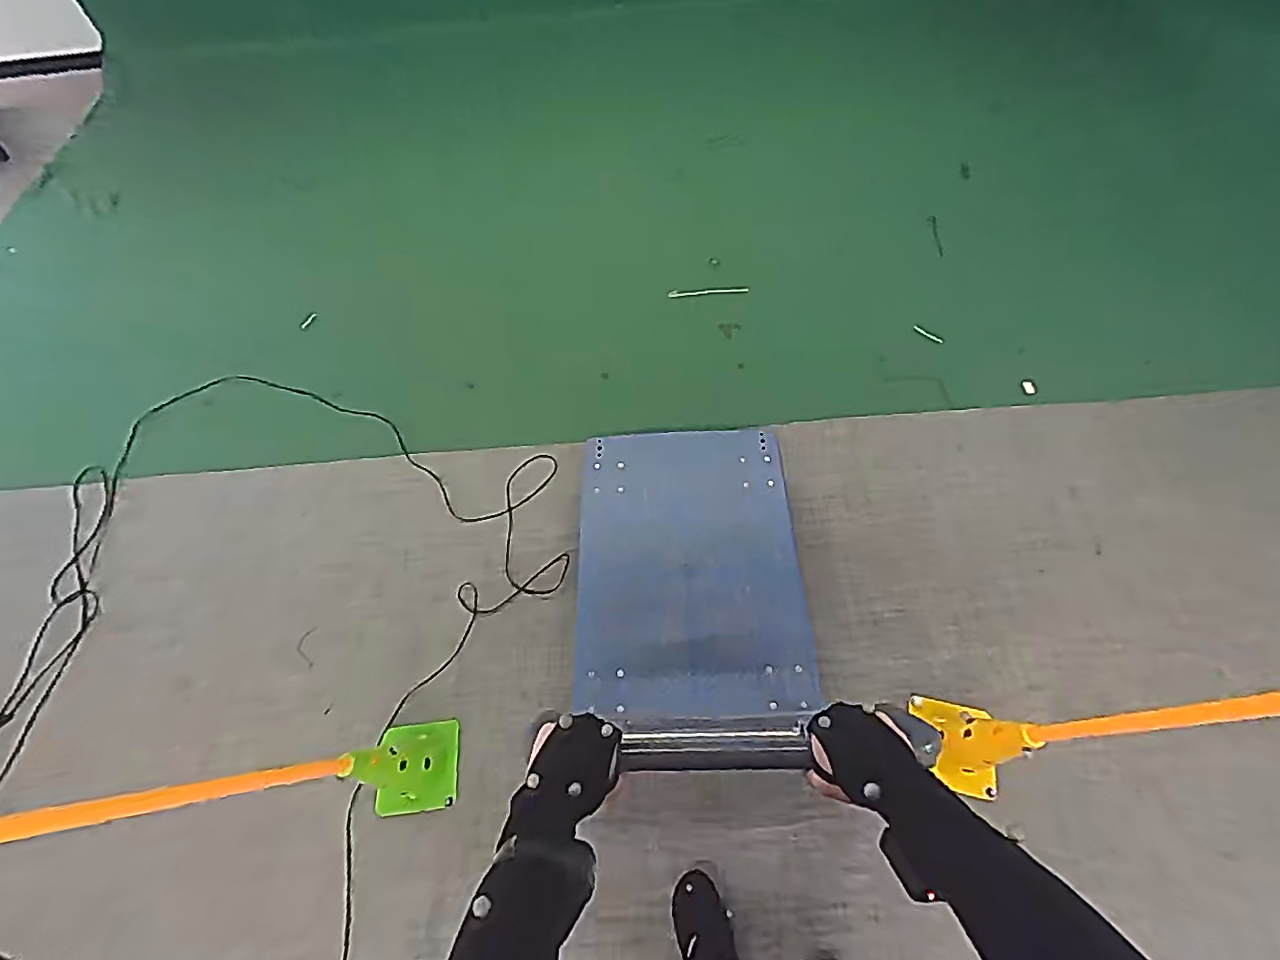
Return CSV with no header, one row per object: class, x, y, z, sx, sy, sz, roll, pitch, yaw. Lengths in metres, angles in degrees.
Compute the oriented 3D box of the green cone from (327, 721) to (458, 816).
green cone,-0.579,0.646,1.224,0.202,0.368,0.200,-9,61,1
